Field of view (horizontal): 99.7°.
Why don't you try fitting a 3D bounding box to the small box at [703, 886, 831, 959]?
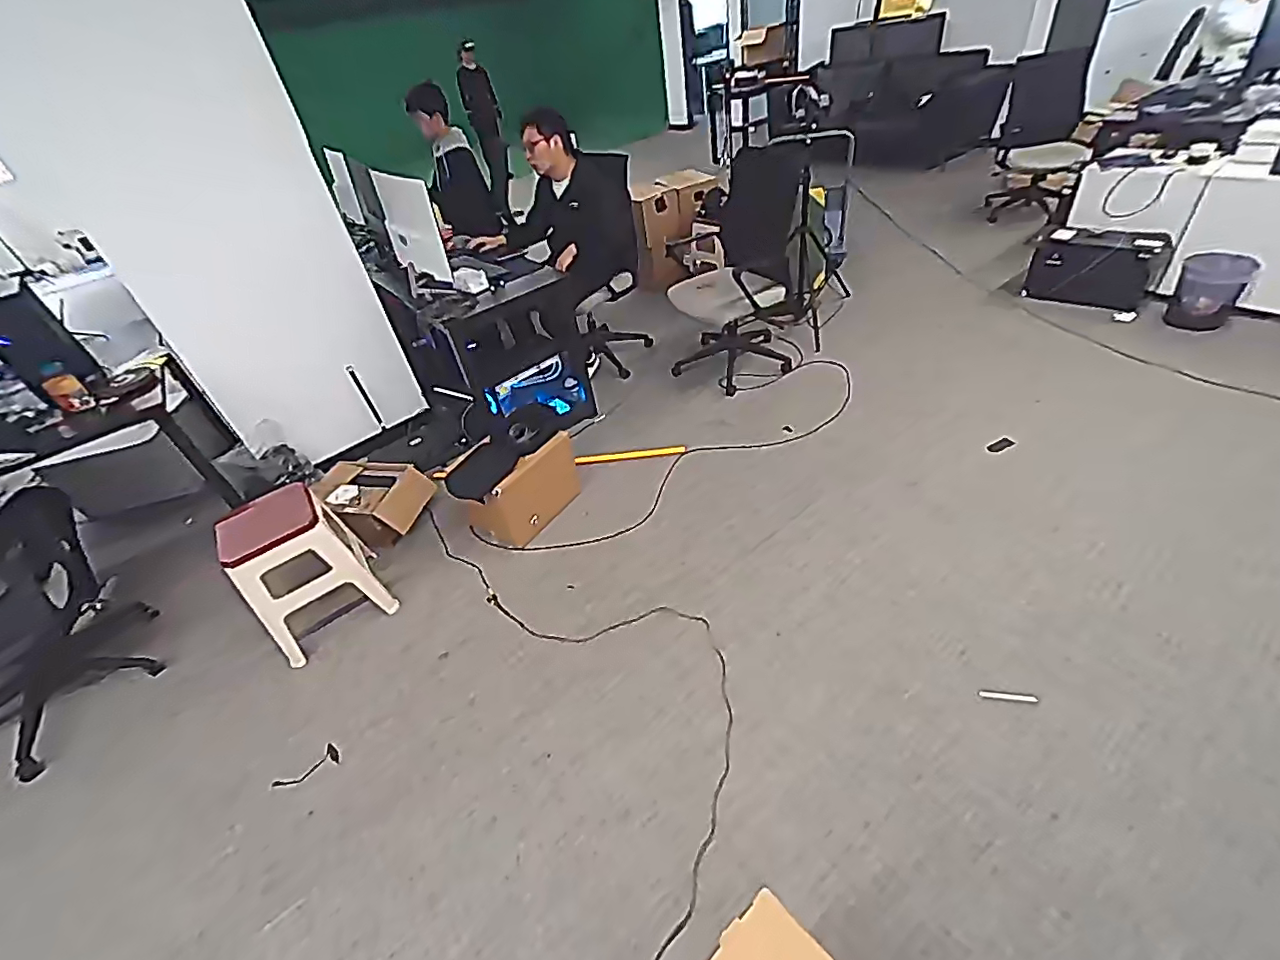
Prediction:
[{"bbox_3d":[0.199,0.767,0.803,0.168,0.176,0.179,-35,46,-26],"label":"small box"}]
